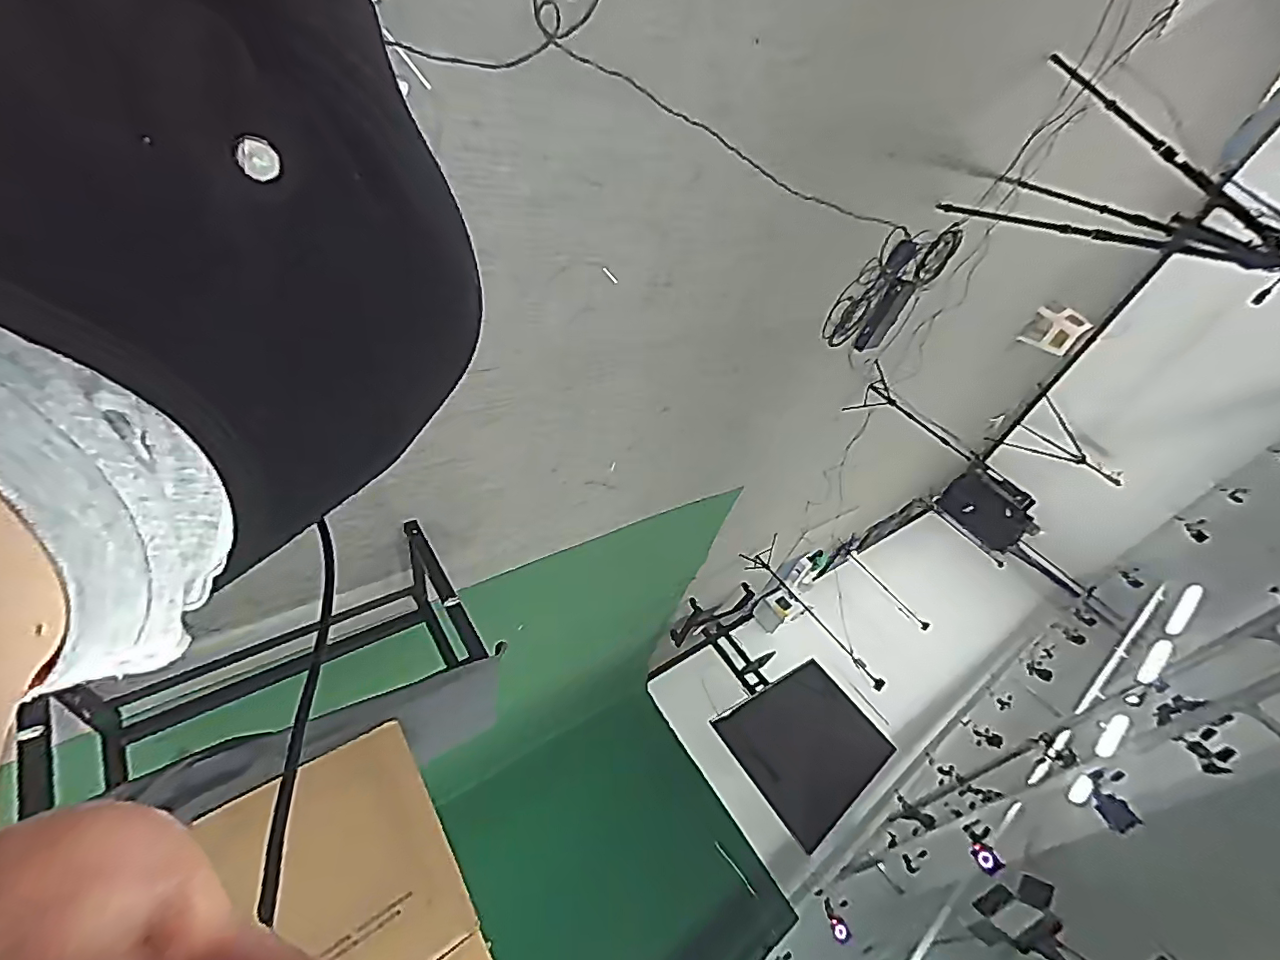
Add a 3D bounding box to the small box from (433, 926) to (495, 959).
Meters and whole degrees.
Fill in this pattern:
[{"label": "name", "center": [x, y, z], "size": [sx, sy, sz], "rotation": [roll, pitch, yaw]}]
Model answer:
[{"label": "small box", "center": [-0.461, 1.309, 1.402], "size": [0.168, 0.176, 0.179], "rotation": [-21, 145, -34]}]
